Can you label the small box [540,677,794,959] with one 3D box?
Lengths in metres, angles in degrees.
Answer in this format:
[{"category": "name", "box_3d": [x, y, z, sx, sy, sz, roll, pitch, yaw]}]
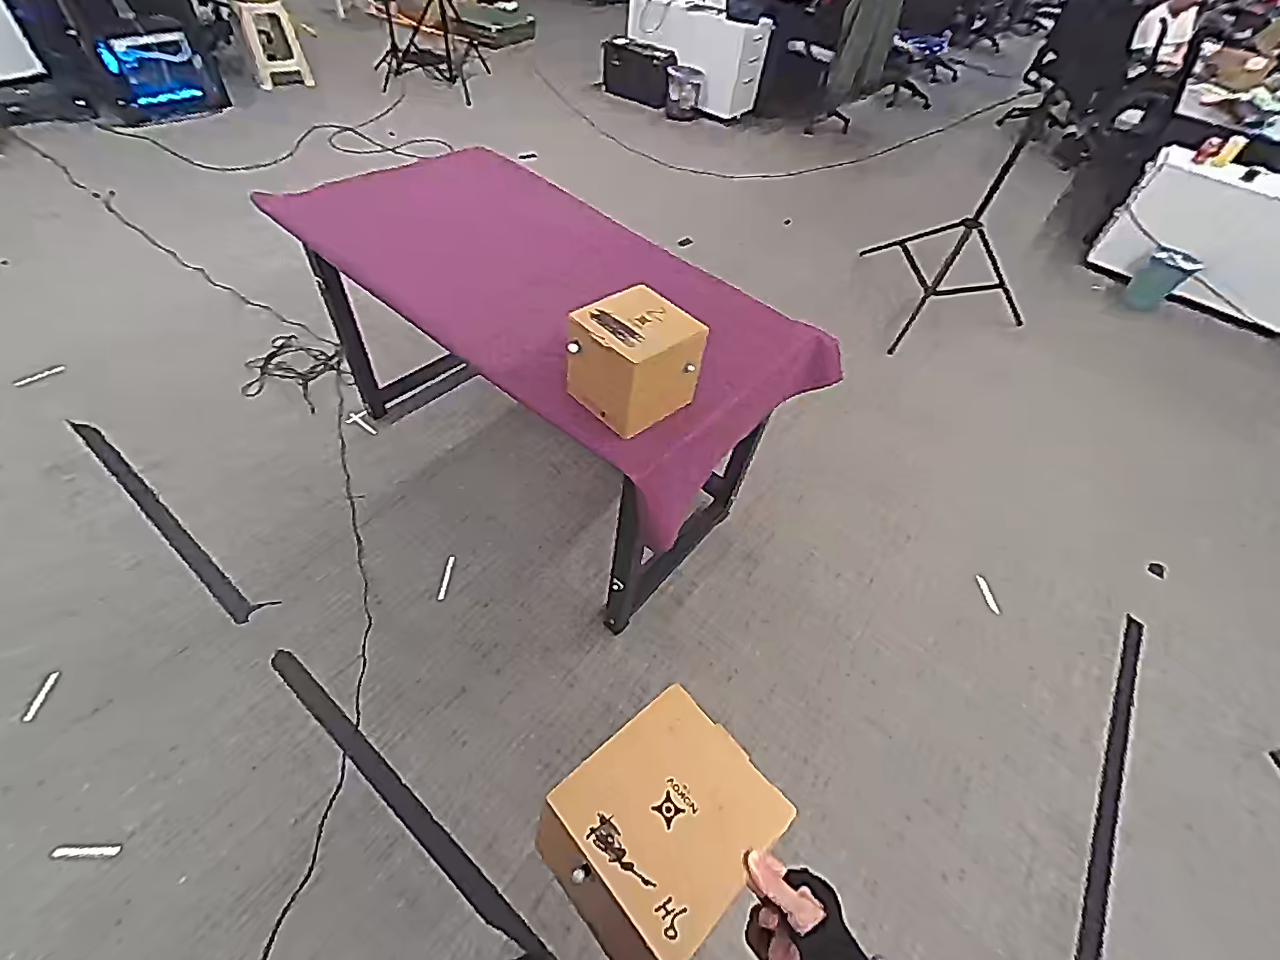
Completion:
[{"category": "small box", "box_3d": [0.016, 0.345, 0.549, 0.179, 0.176, 0.168, -28, 59, -37]}]
